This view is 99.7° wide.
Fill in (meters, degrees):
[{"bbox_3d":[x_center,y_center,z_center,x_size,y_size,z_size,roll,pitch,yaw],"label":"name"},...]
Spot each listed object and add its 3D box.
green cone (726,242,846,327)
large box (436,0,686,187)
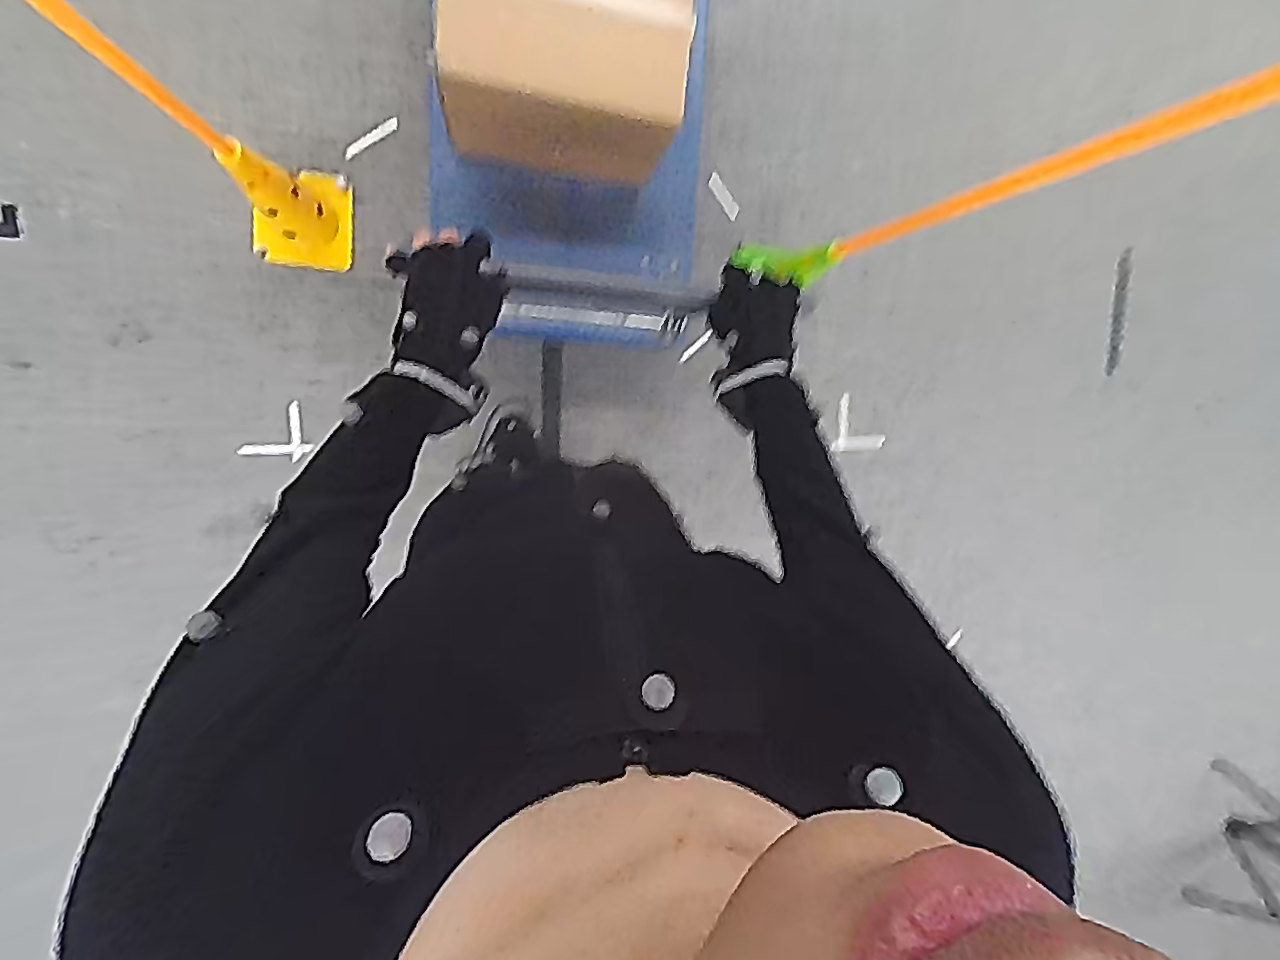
[{"bbox_3d":[0.378,-0.511,1.331,0.202,0.368,0.200,3,97,-15],"label":"green cone"},{"bbox_3d":[-0.148,-0.793,1.022,0.408,0.320,0.320,3,98,-13],"label":"large box"}]
